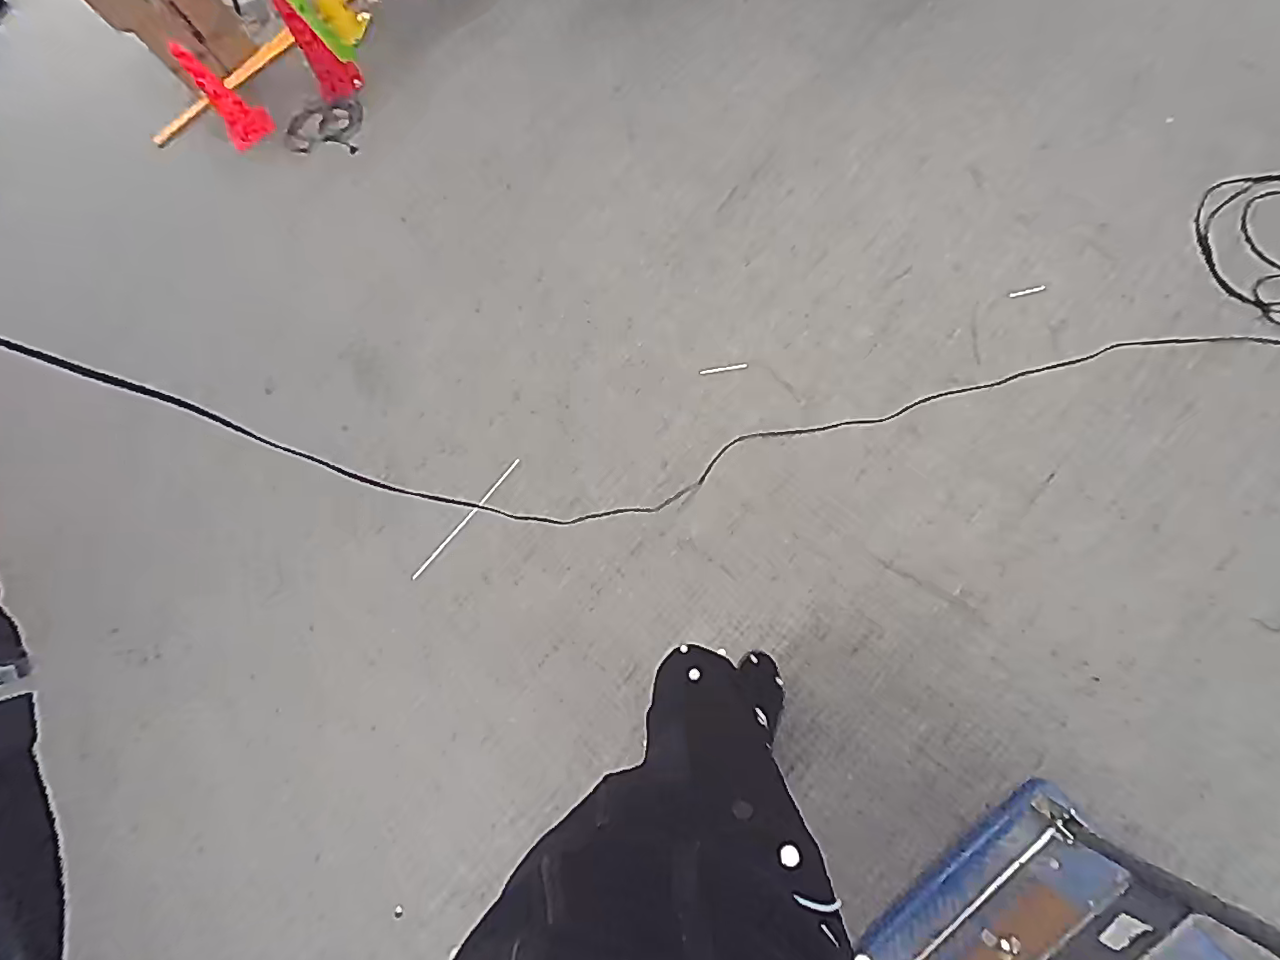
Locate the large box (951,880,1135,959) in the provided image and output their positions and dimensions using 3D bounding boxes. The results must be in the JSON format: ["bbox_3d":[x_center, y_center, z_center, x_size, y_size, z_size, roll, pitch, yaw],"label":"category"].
[{"bbox_3d":[0.741,0.953,0.824,0.320,0.320,0.408,-42,71,-3],"label":"large box"}]
